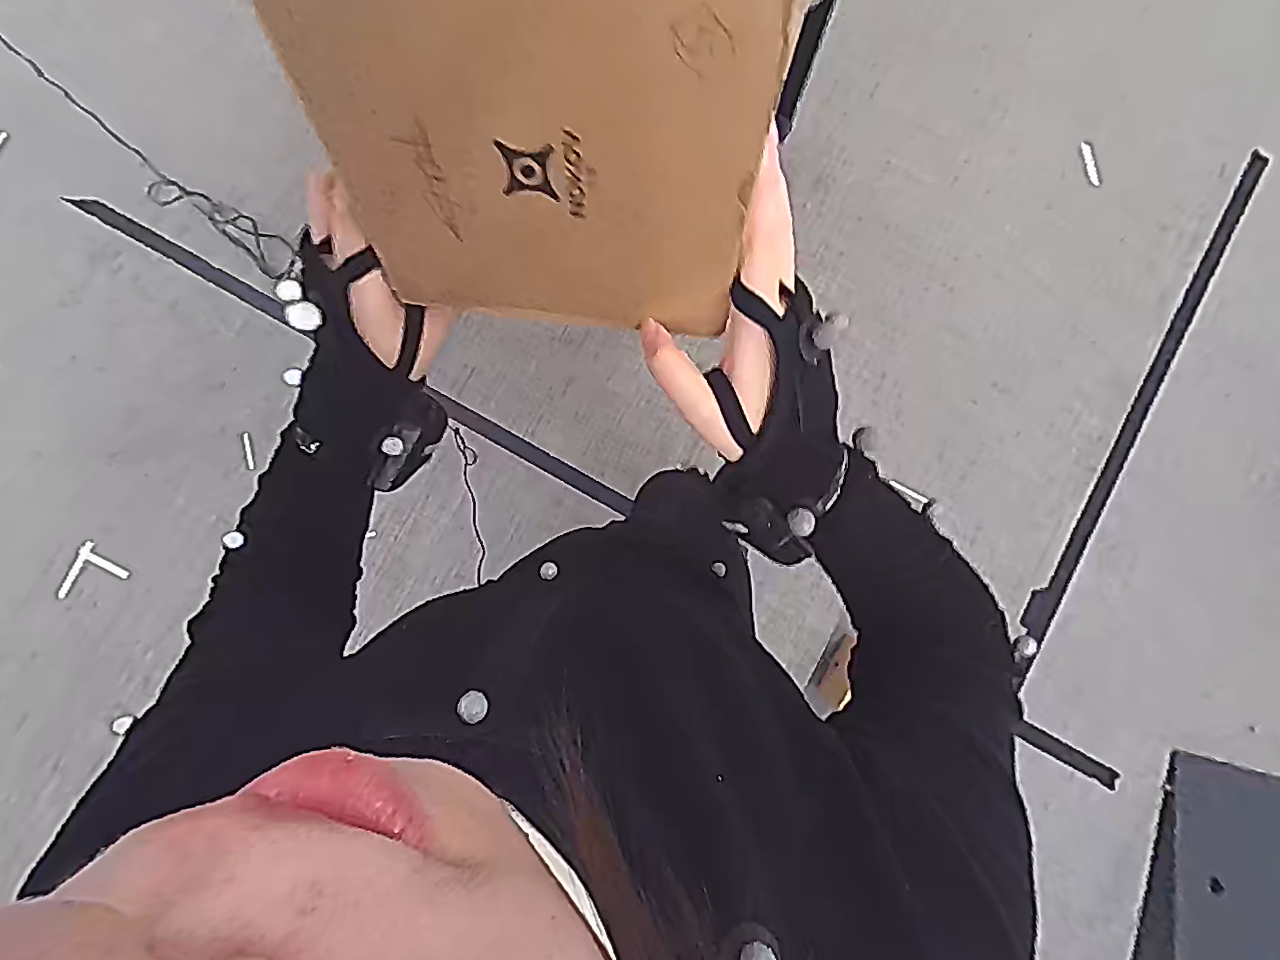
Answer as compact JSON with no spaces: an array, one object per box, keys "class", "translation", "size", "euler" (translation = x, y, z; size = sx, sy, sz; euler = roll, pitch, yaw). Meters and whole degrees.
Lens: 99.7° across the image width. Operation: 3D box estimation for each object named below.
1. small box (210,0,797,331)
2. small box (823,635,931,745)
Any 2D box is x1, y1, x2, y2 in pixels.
[{"class":"small box","translation":[-0.036,-0.190,0.232],"size":[0.179,0.168,0.176],"euler":[7,64,2]},{"class":"small box","translation":[0.584,0.520,1.365],"size":[0.168,0.176,0.179],"euler":[29,88,3]}]
